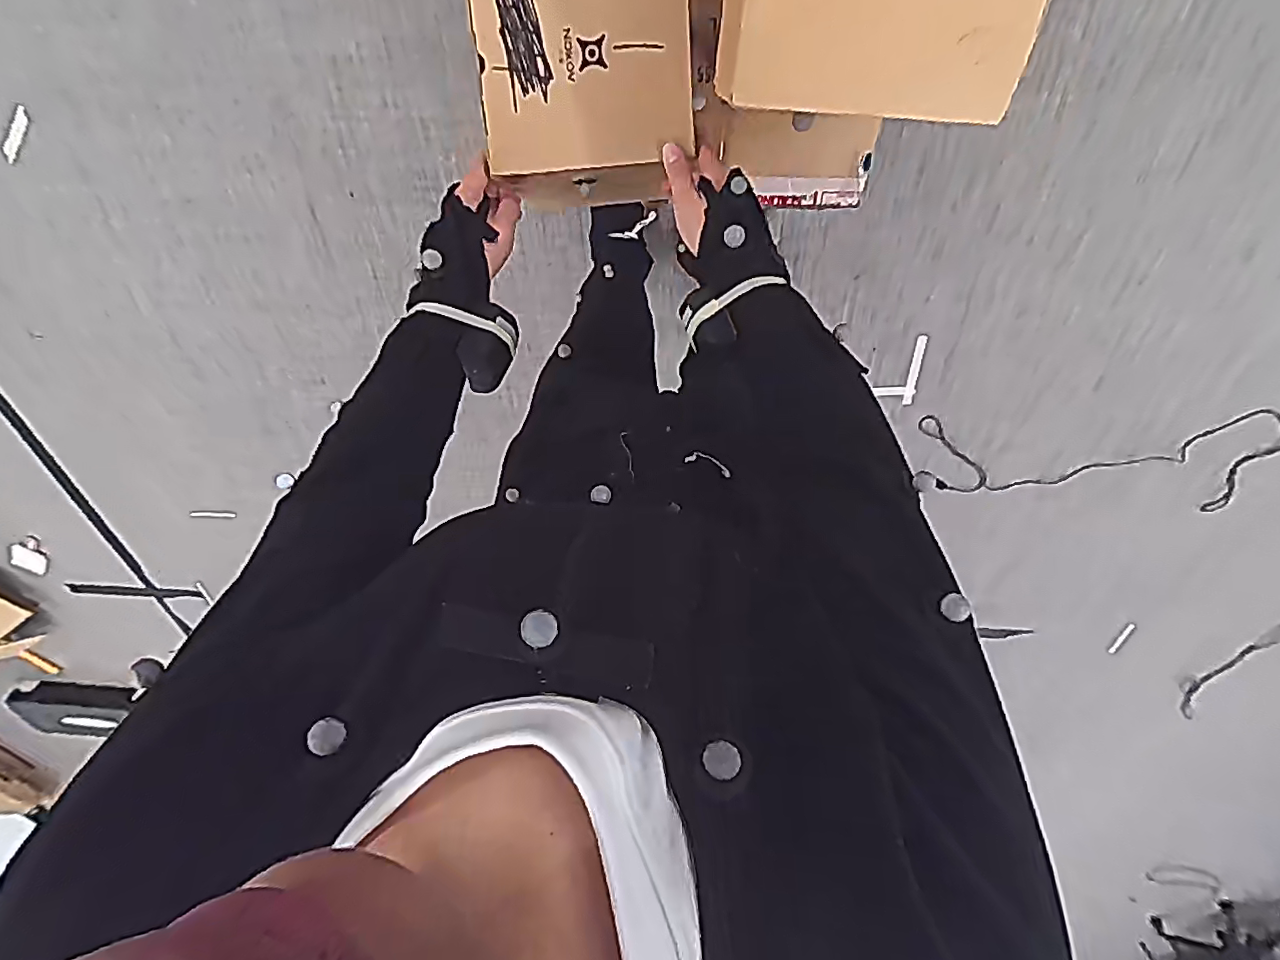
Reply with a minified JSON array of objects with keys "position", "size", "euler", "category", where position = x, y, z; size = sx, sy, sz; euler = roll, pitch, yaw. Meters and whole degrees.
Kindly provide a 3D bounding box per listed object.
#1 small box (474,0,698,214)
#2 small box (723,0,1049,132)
[{"position":[-0.037,-0.359,0.509],"size":[0.179,0.176,0.168],"euler":[-3,107,4],"category":"small box"},{"position":[0.147,-0.336,0.341],"size":[0.168,0.176,0.179],"euler":[4,127,1],"category":"small box"}]
